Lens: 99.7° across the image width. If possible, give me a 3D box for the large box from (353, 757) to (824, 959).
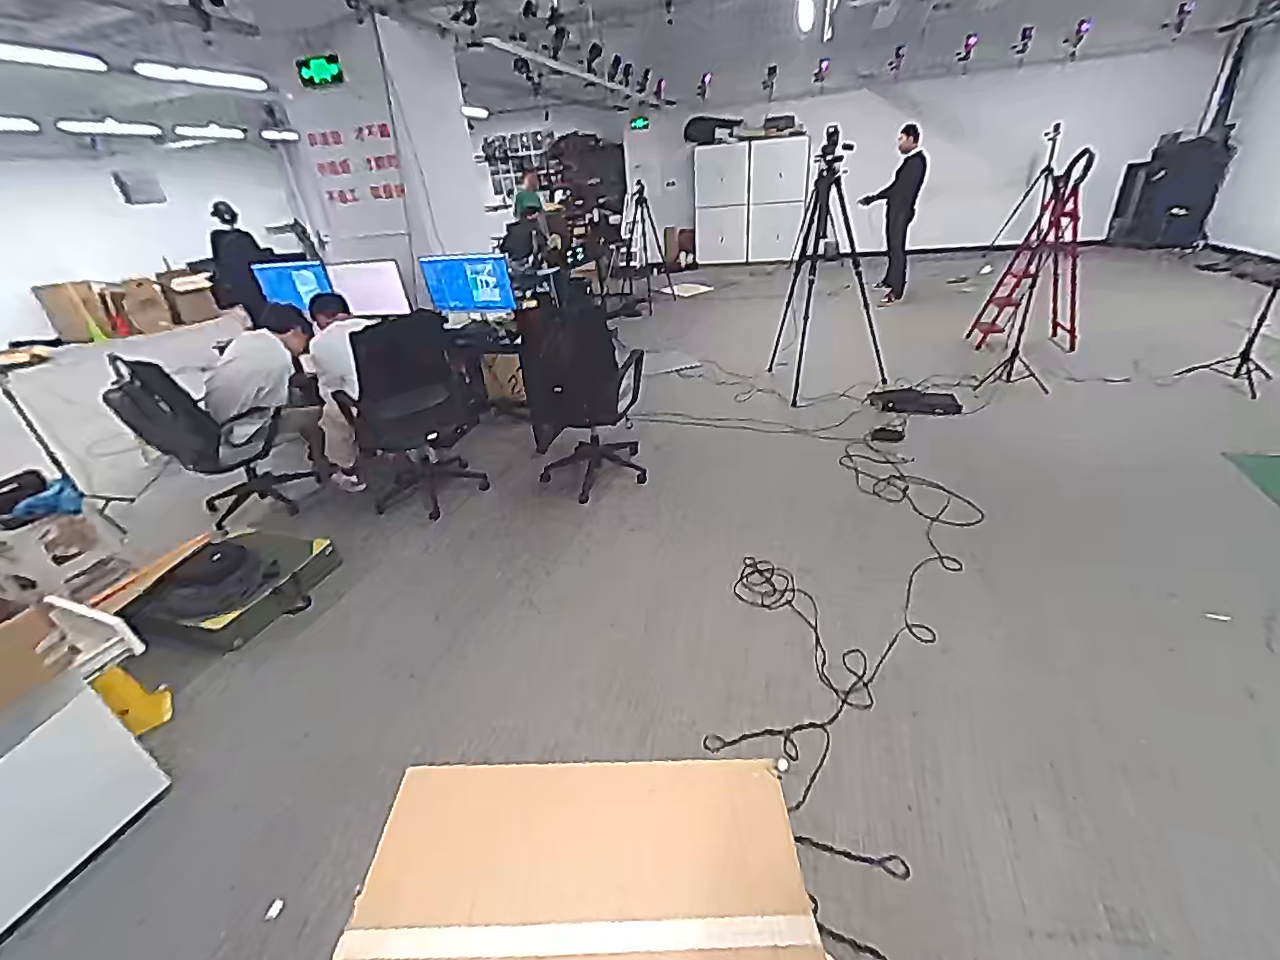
[{"bbox_3d":[-0.046,0.520,0.549,0.408,0.320,0.320,0,31,-1],"label":"large box"}]
